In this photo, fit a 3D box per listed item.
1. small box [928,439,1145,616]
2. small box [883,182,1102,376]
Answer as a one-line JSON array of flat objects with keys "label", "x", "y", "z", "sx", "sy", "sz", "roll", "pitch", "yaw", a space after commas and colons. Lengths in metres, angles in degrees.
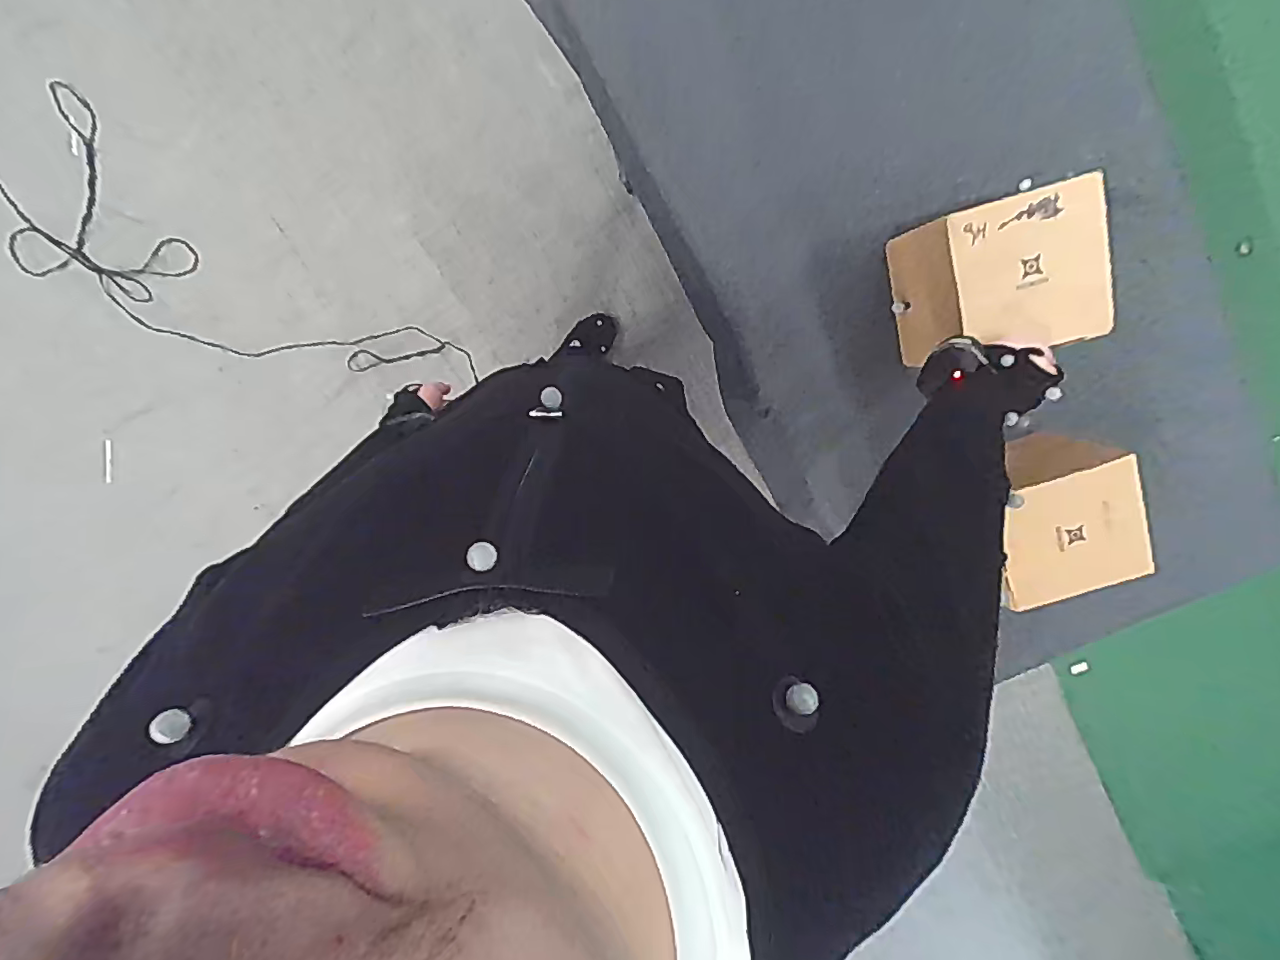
[{"label": "small box", "x": 0.525, "y": 0.056, "z": 0.744, "sx": 0.179, "sy": 0.176, "sz": 0.168, "roll": -19, "pitch": 104, "yaw": 5}, {"label": "small box", "x": 0.428, "y": -0.240, "z": 0.678, "sx": 0.168, "sy": 0.176, "sz": 0.179, "roll": -14, "pitch": 103, "yaw": 4}]
